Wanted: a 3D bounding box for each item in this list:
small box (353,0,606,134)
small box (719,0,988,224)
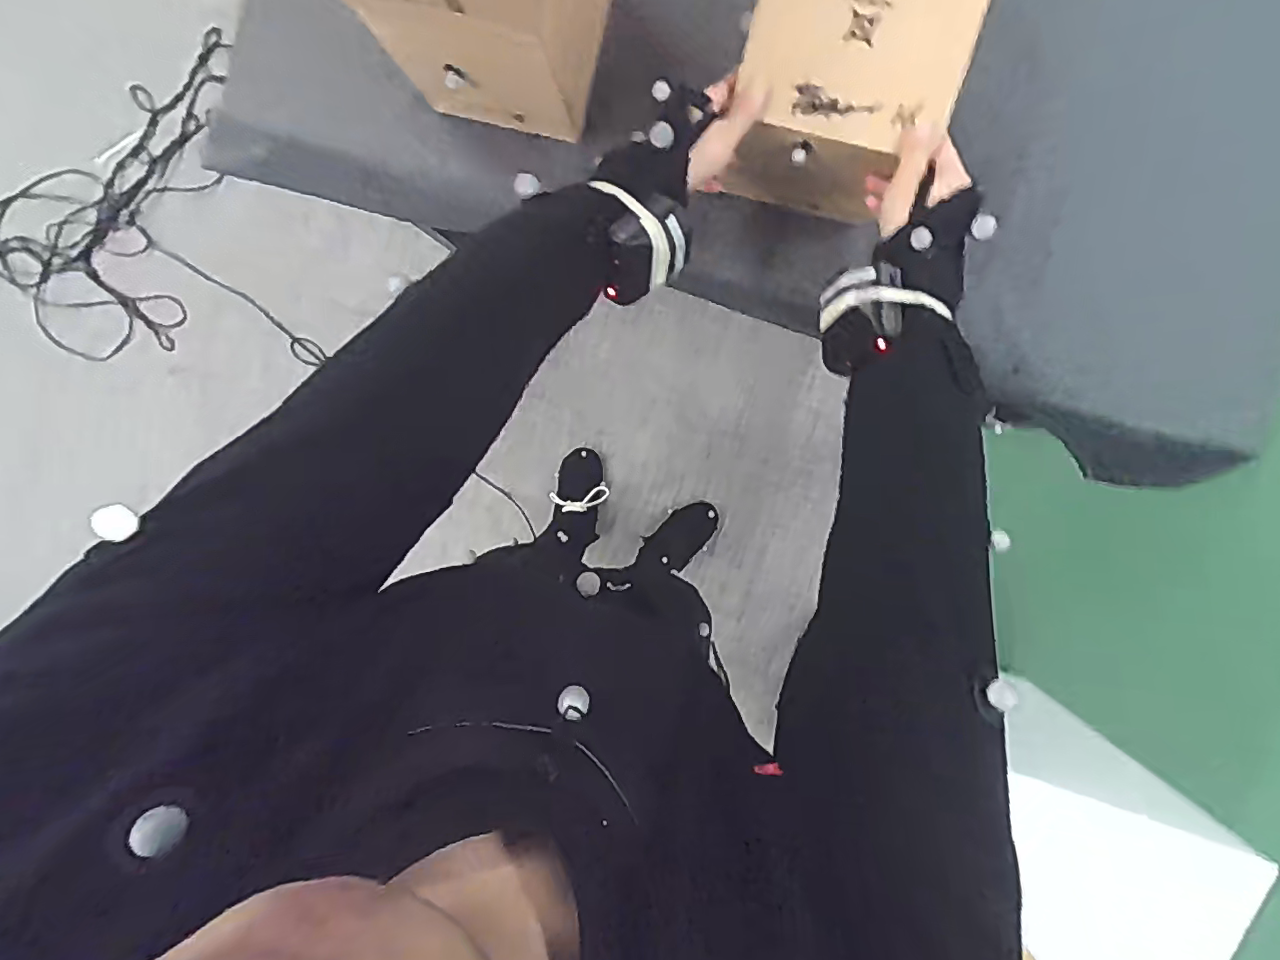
[{"bbox_3d":[-0.131,-0.460,0.497,0.168,0.176,0.179,14,97,1],"label":"small box"},{"bbox_3d":[0.175,-0.362,0.487,0.168,0.176,0.179,16,101,1],"label":"small box"}]
